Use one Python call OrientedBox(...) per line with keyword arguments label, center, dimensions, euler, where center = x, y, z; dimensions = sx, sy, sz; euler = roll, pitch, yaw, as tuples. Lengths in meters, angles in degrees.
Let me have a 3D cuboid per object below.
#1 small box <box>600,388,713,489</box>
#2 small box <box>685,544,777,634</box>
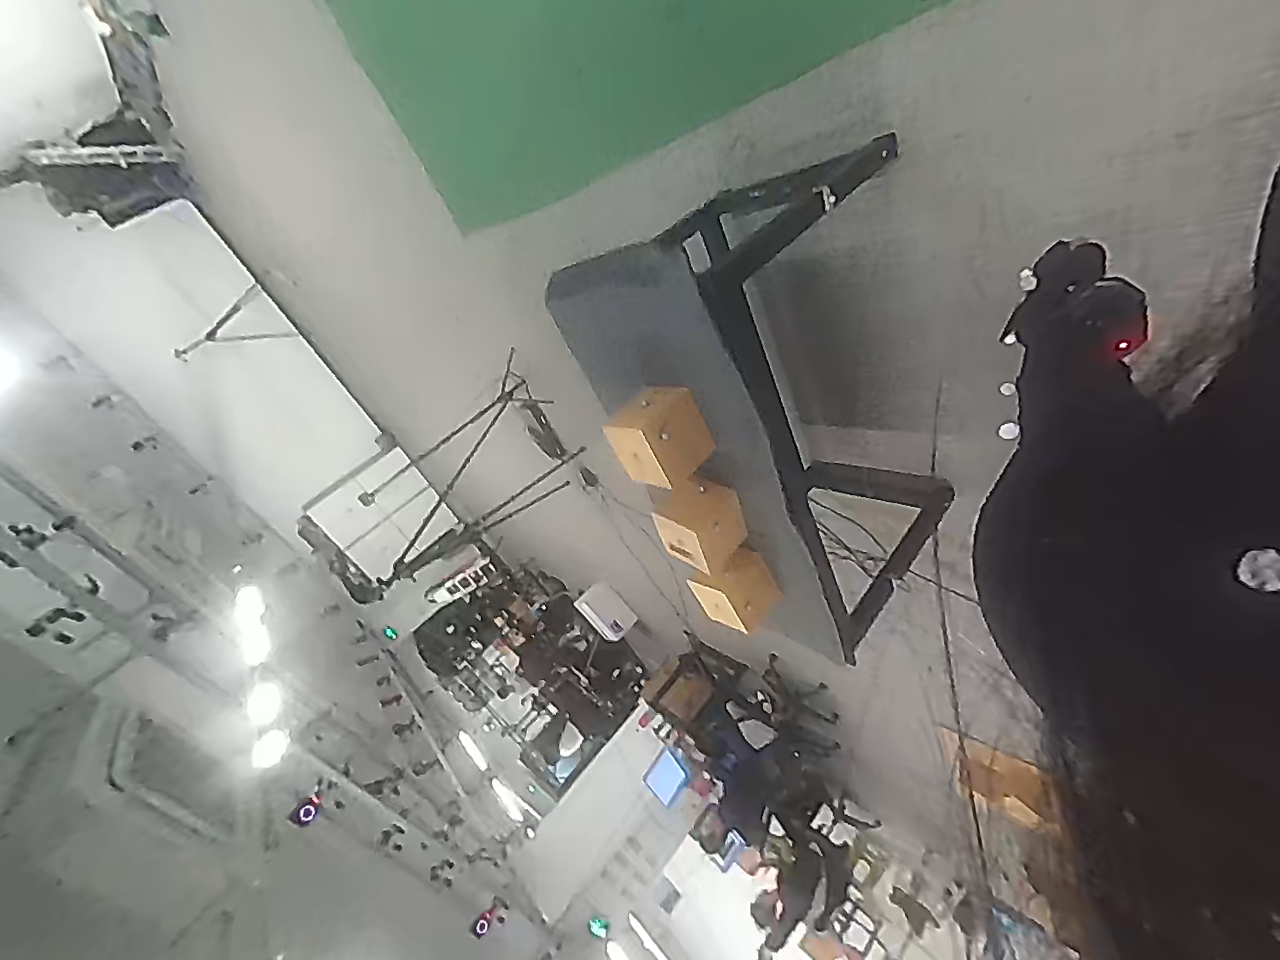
OrientedBox(label="small box", center=(0.043, -0.107, 1.298), dimensions=(0.168, 0.176, 0.179), euler=(13, 139, 52))
OrientedBox(label="small box", center=(0.269, 0.311, 1.581), dimensions=(0.168, 0.176, 0.179), euler=(8, 136, 54))
